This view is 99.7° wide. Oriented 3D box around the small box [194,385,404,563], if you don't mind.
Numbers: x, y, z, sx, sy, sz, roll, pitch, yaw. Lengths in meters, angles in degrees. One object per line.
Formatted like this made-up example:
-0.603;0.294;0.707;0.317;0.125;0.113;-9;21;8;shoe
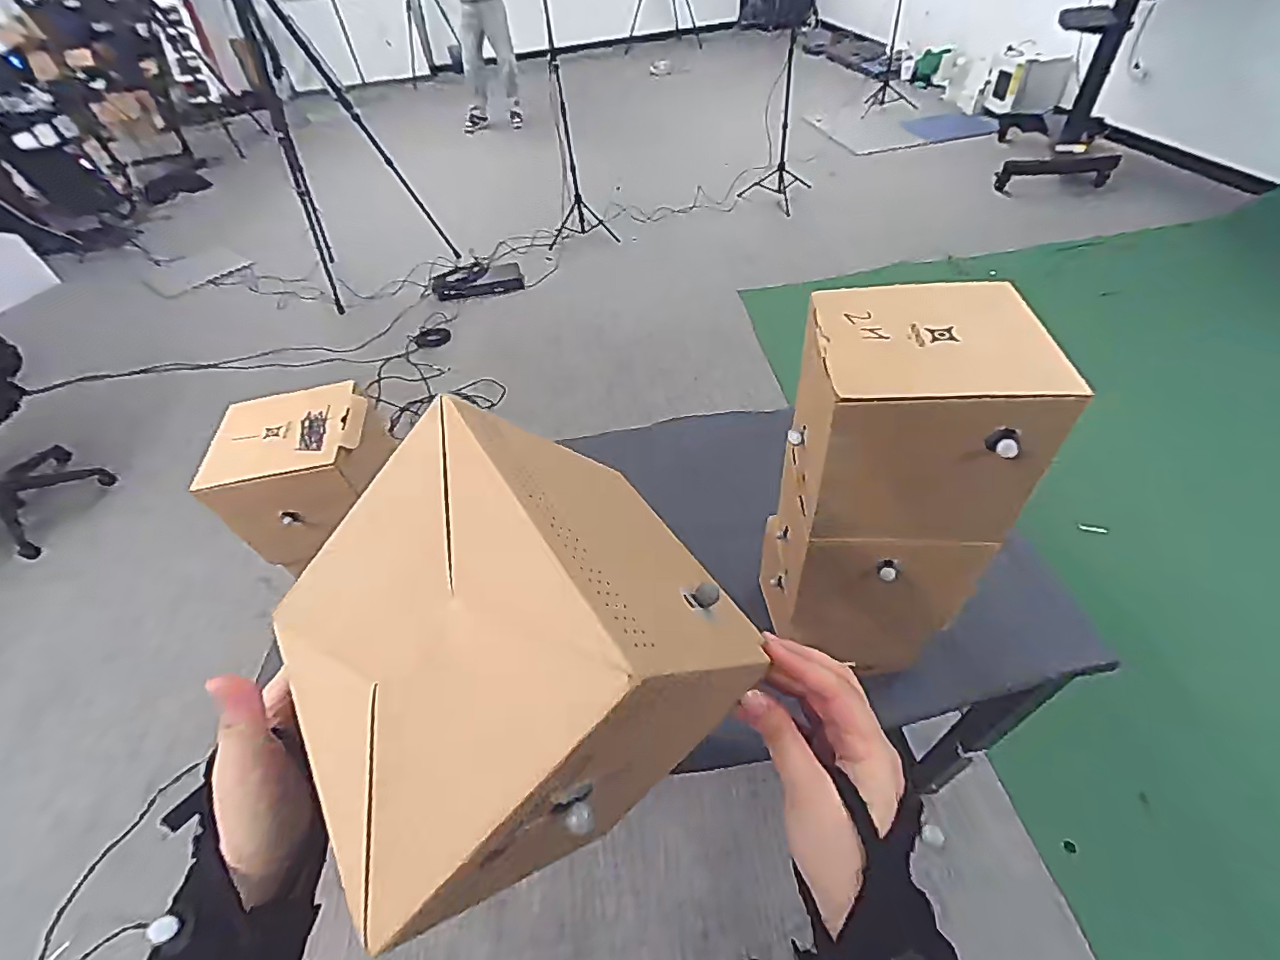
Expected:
-0.455;-0.006;0.760;0.179;0.176;0.168;-12;49;-3;small box

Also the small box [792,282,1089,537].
0.243;-0.061;0.496;0.179;0.176;0.168;0;46;9;small box

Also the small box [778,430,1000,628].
0.258;0.055;0.613;0.179;0.176;0.168;-2;46;8;small box

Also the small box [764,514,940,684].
0.273;0.154;0.742;0.168;0.176;0.179;-9;47;0;small box
